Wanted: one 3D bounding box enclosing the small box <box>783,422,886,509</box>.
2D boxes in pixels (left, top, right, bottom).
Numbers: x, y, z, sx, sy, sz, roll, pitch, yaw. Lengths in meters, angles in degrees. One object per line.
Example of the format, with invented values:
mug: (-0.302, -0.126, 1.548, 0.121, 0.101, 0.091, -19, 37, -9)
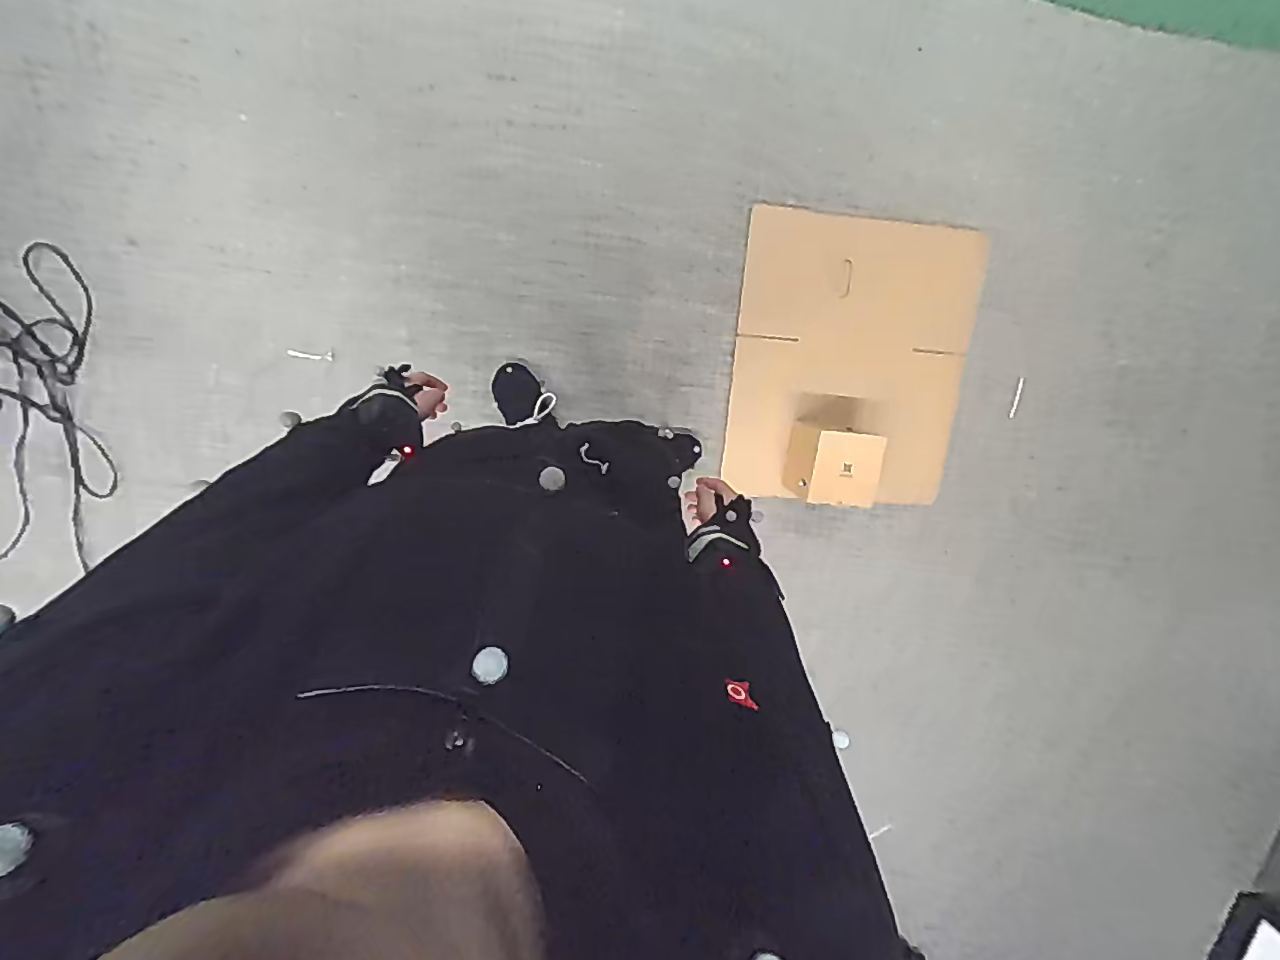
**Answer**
small box: (0.465, -0.040, 1.319, 0.168, 0.176, 0.179, 5, 104, -8)
